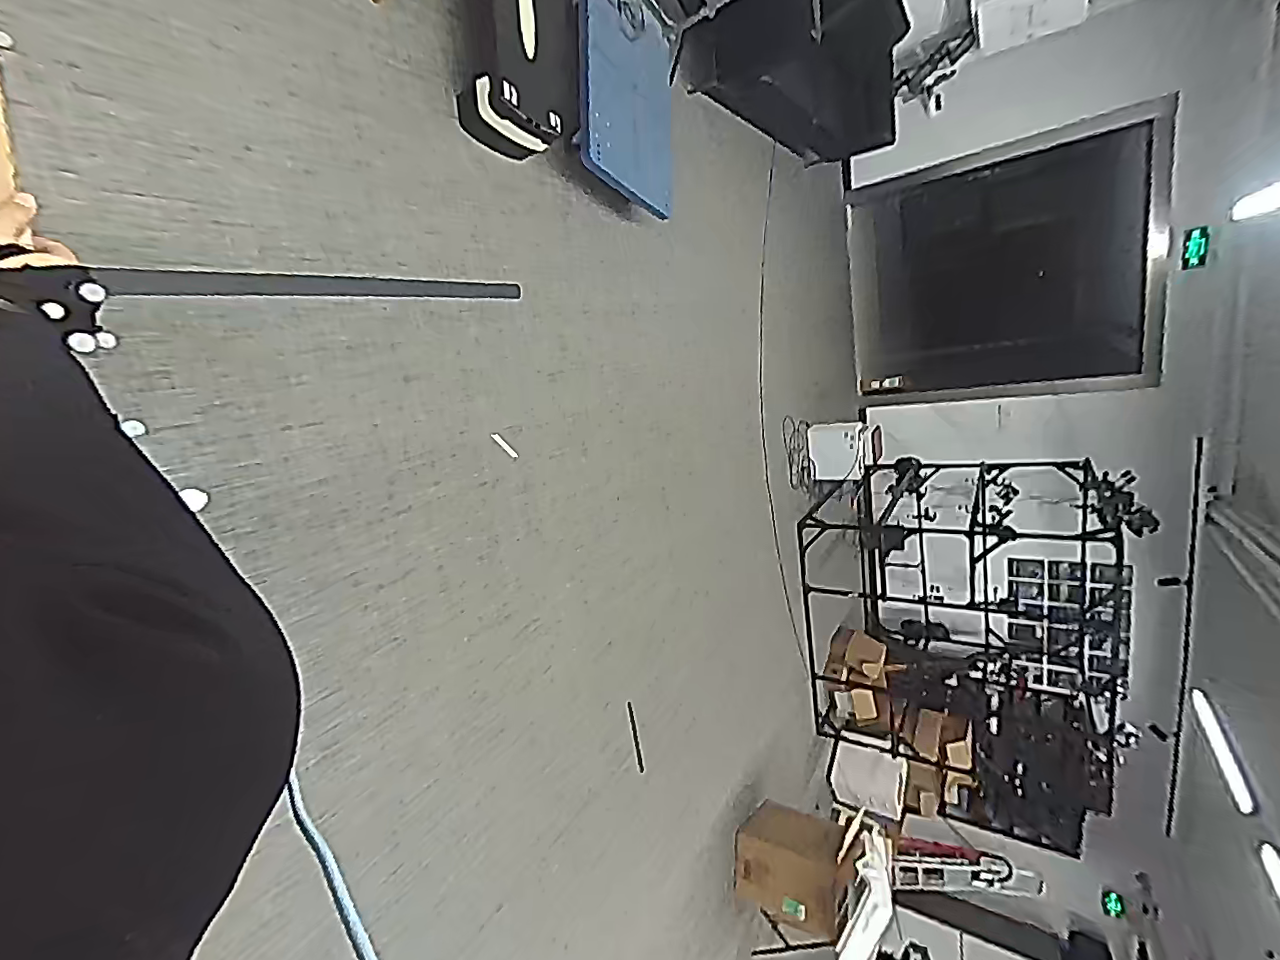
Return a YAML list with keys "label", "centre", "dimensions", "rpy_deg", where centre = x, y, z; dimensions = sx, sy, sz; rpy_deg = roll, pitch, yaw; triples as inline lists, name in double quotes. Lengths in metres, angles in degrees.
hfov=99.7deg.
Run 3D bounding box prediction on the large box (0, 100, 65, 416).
- label: "large box"
  centre: [-0.765, -0.197, 0.392]
  dimensions: [0.408, 0.320, 0.320]
  rpy_deg: [-16, 111, -53]
